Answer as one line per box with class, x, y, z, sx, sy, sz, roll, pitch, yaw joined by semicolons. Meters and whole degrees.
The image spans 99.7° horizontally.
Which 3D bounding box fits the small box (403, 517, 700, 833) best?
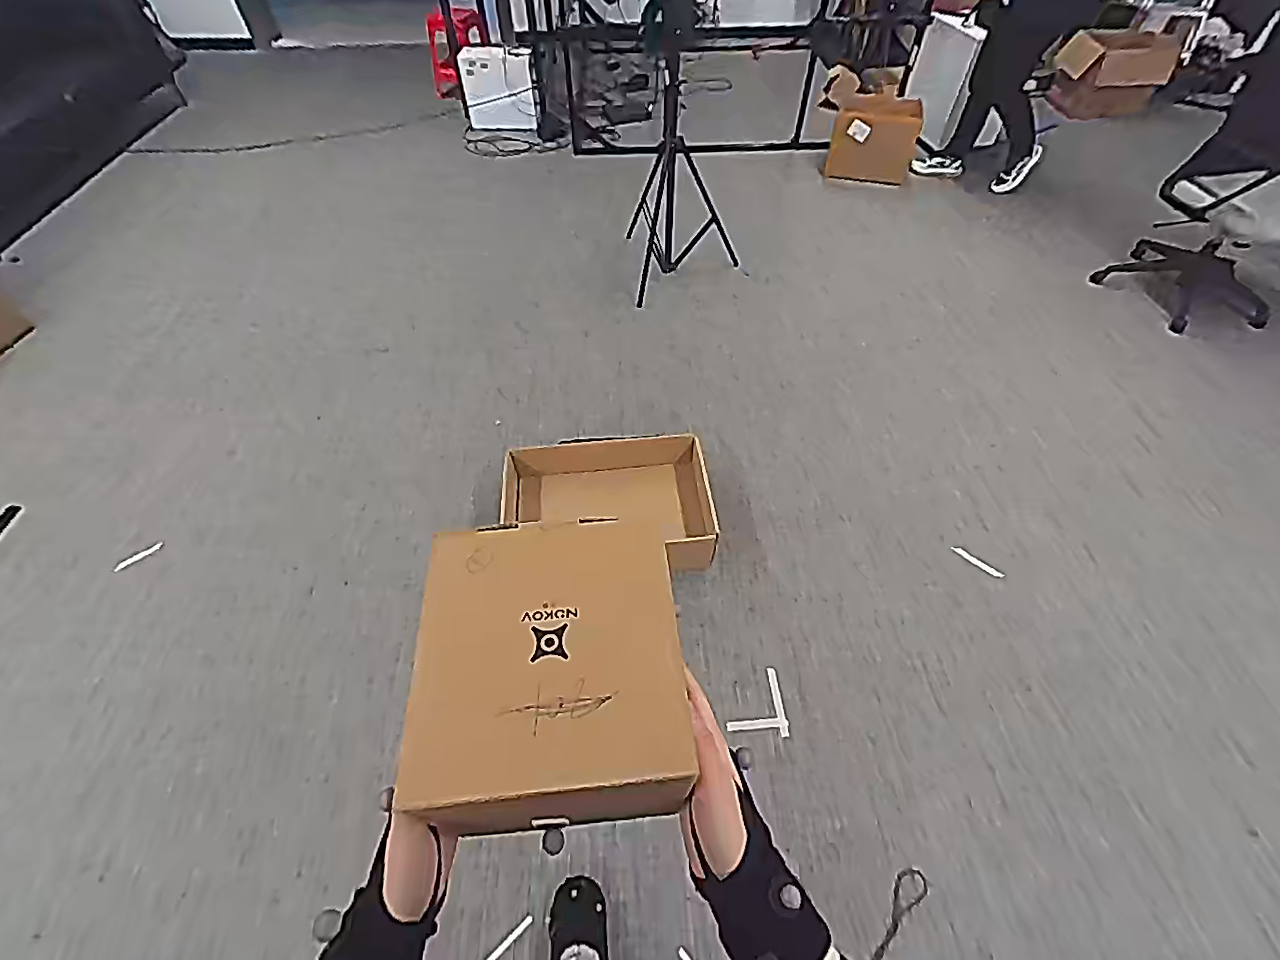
small box;-0.057;0.149;0.410;0.168;0.176;0.179;-4;53;-4
